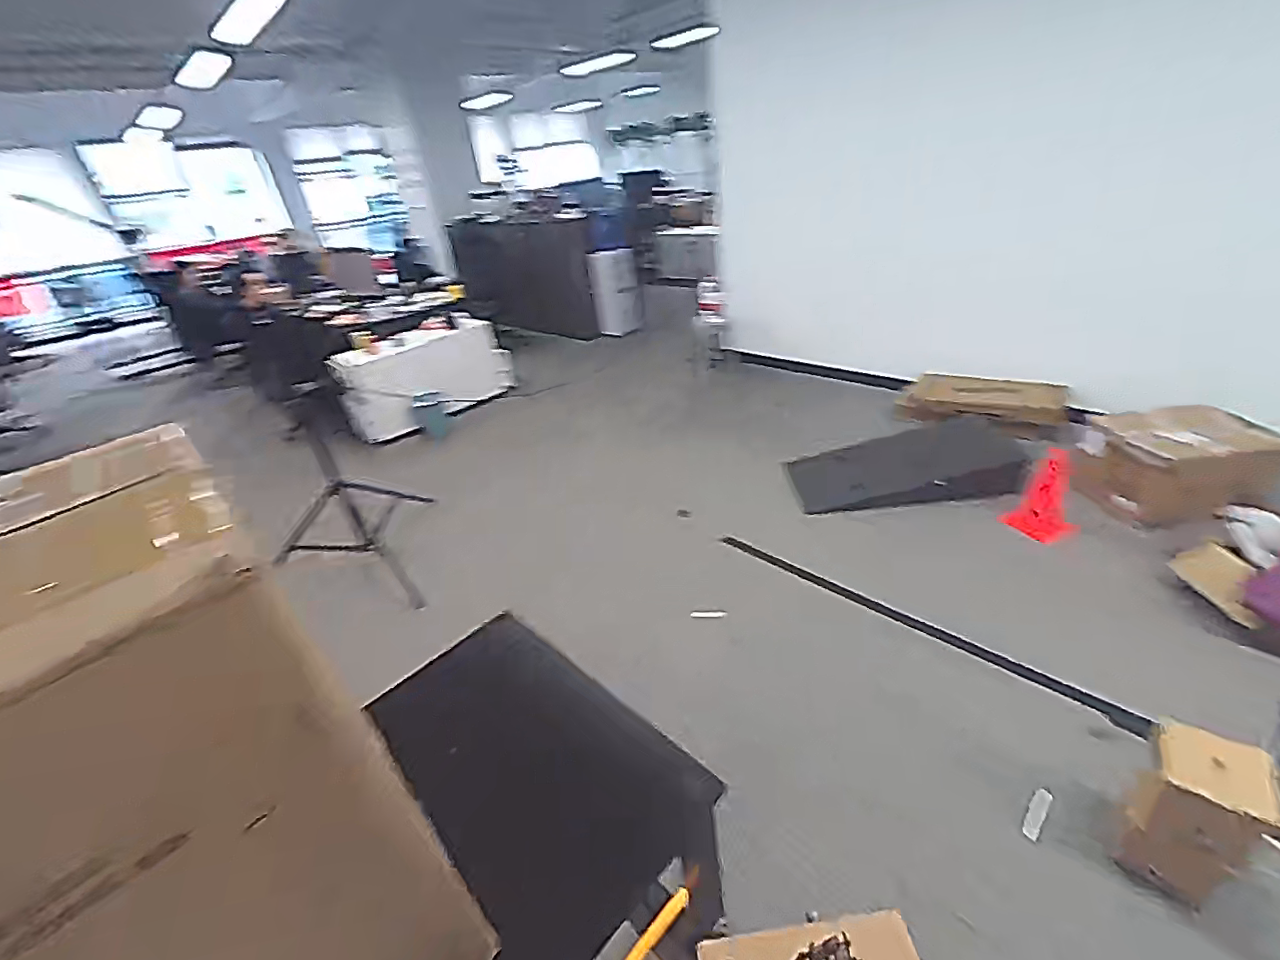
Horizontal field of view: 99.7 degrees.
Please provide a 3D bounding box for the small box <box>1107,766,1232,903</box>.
[{"bbox_3d":[1.202,0.799,1.232,0.168,0.176,0.179,18,41,39],"label":"small box"}]

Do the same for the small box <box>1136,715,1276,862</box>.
[{"bbox_3d":[1.191,0.653,1.154,0.168,0.176,0.179,14,37,35],"label":"small box"}]

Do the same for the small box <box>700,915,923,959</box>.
[{"bbox_3d":[0.144,0.464,0.397,0.168,0.176,0.179,-9,35,0],"label":"small box"}]
